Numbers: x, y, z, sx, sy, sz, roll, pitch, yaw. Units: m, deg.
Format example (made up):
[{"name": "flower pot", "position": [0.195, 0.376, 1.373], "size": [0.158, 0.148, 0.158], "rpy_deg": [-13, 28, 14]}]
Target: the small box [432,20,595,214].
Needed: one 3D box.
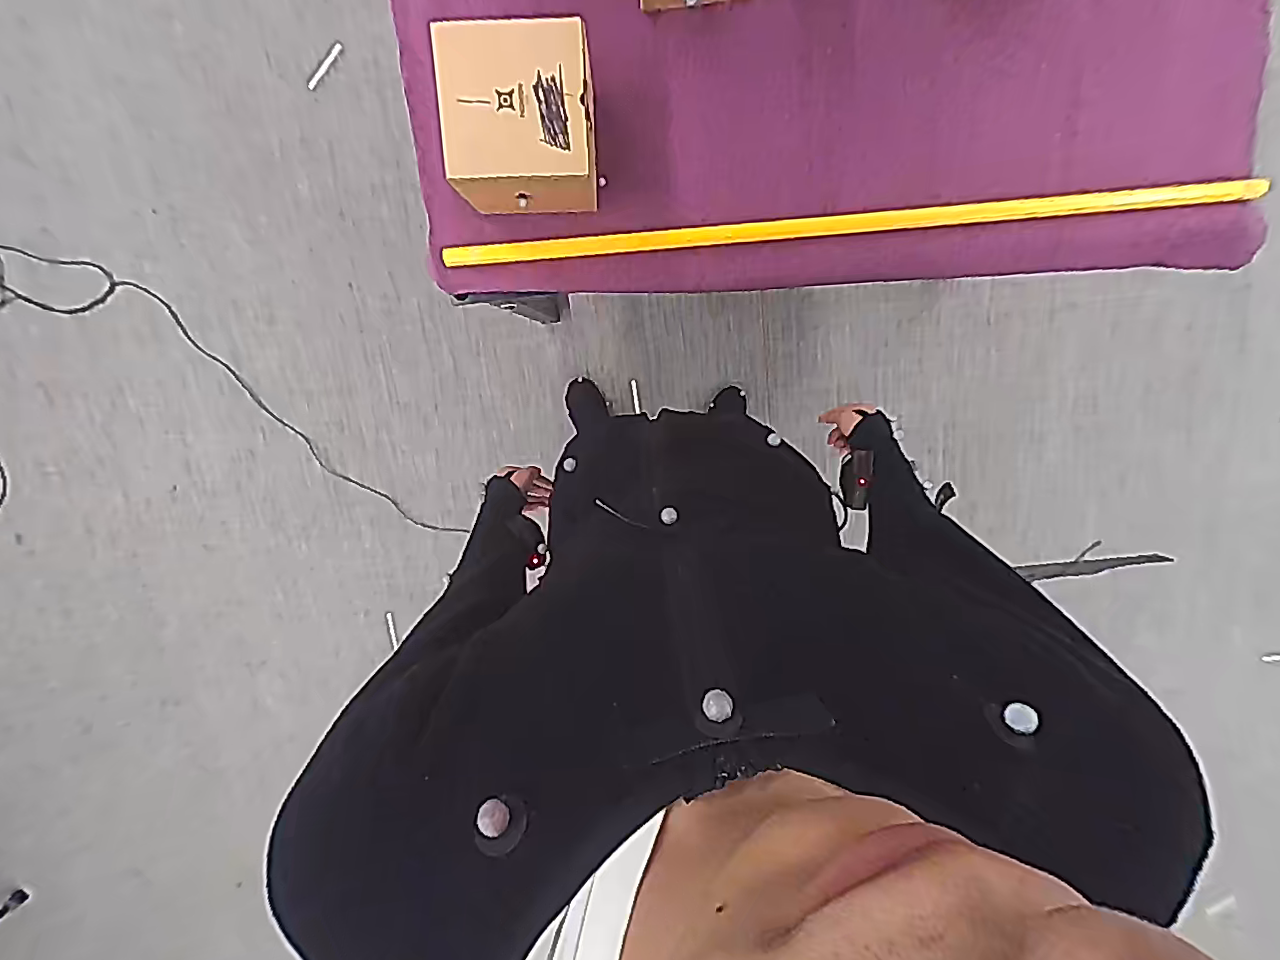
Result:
[{"name": "small box", "position": [-0.150, -0.458, 0.707], "size": [0.179, 0.176, 0.168], "rpy_deg": [-2, 103, -1]}]

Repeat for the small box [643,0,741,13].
[{"name": "small box", "position": [0.070, -0.724, 0.652], "size": [0.168, 0.176, 0.179], "rpy_deg": [-8, 103, 2]}]
